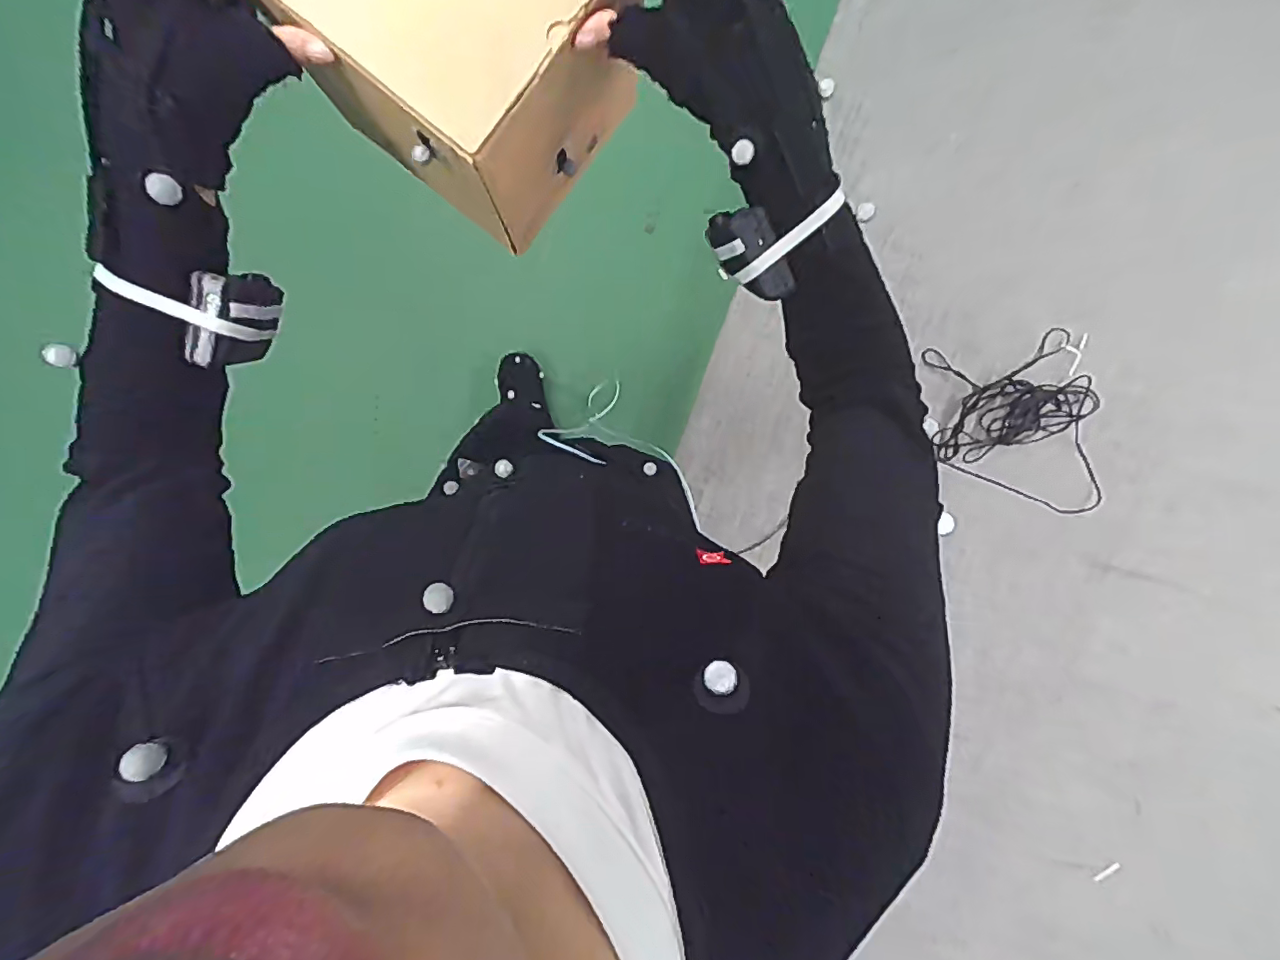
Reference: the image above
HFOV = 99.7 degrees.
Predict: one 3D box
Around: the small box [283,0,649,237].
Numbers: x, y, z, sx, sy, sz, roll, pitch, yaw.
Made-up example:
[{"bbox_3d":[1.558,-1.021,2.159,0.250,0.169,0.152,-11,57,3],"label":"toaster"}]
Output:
[{"bbox_3d":[-0.113,-0.308,0.379,0.179,0.176,0.168,38,91,-7],"label":"small box"}]
